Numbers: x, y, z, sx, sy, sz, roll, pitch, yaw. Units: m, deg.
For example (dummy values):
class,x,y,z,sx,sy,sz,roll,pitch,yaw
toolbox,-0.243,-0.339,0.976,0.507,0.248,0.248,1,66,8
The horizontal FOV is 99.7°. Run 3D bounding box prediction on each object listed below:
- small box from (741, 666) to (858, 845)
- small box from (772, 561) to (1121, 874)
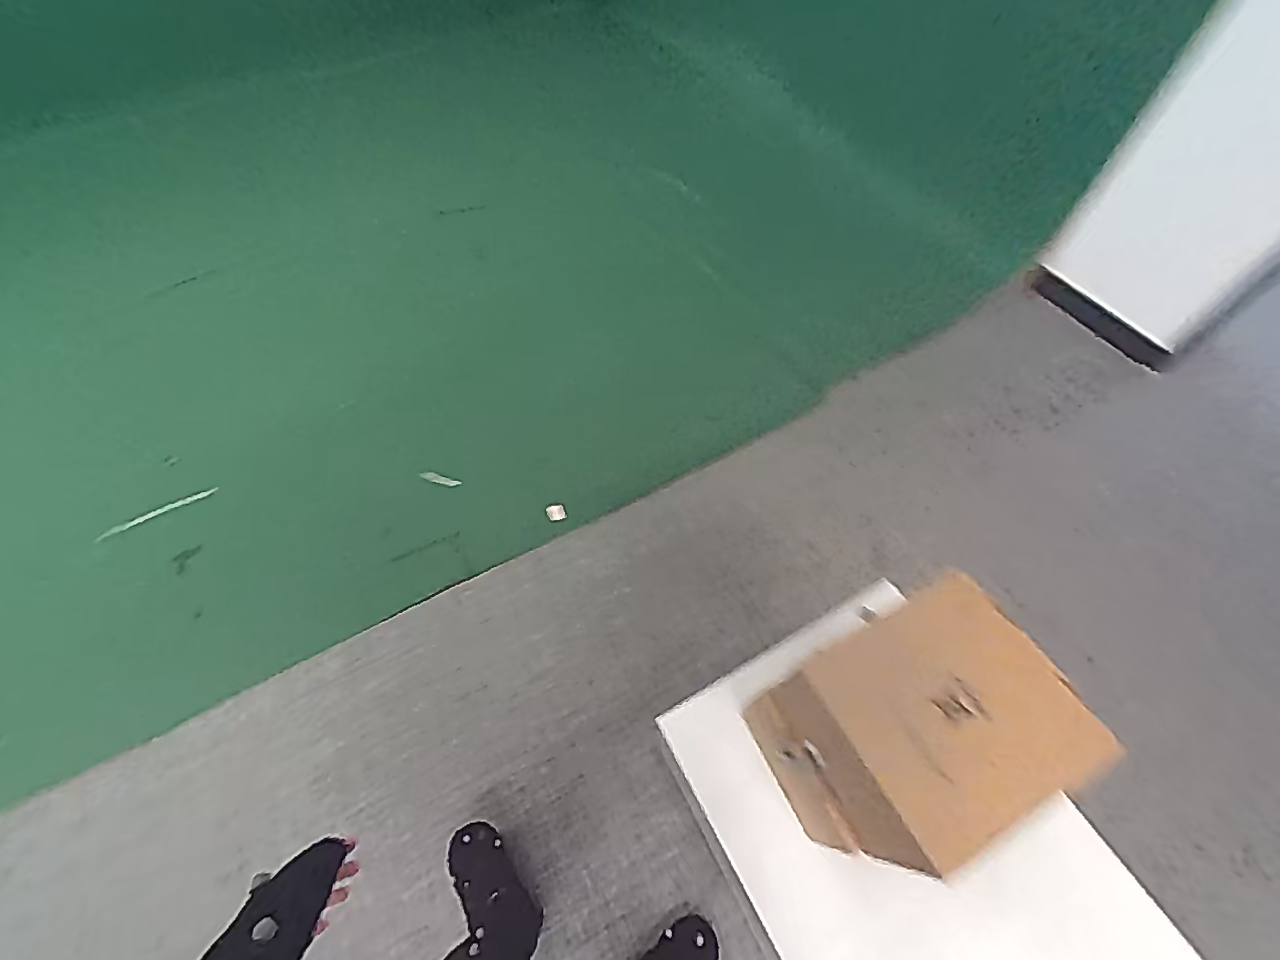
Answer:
class,x,y,z,sx,sy,sz,roll,pitch,yaw
small box,0.239,0.293,0.636,0.179,0.176,0.168,-23,62,-11
small box,0.241,0.203,0.480,0.179,0.176,0.168,-26,62,-11
